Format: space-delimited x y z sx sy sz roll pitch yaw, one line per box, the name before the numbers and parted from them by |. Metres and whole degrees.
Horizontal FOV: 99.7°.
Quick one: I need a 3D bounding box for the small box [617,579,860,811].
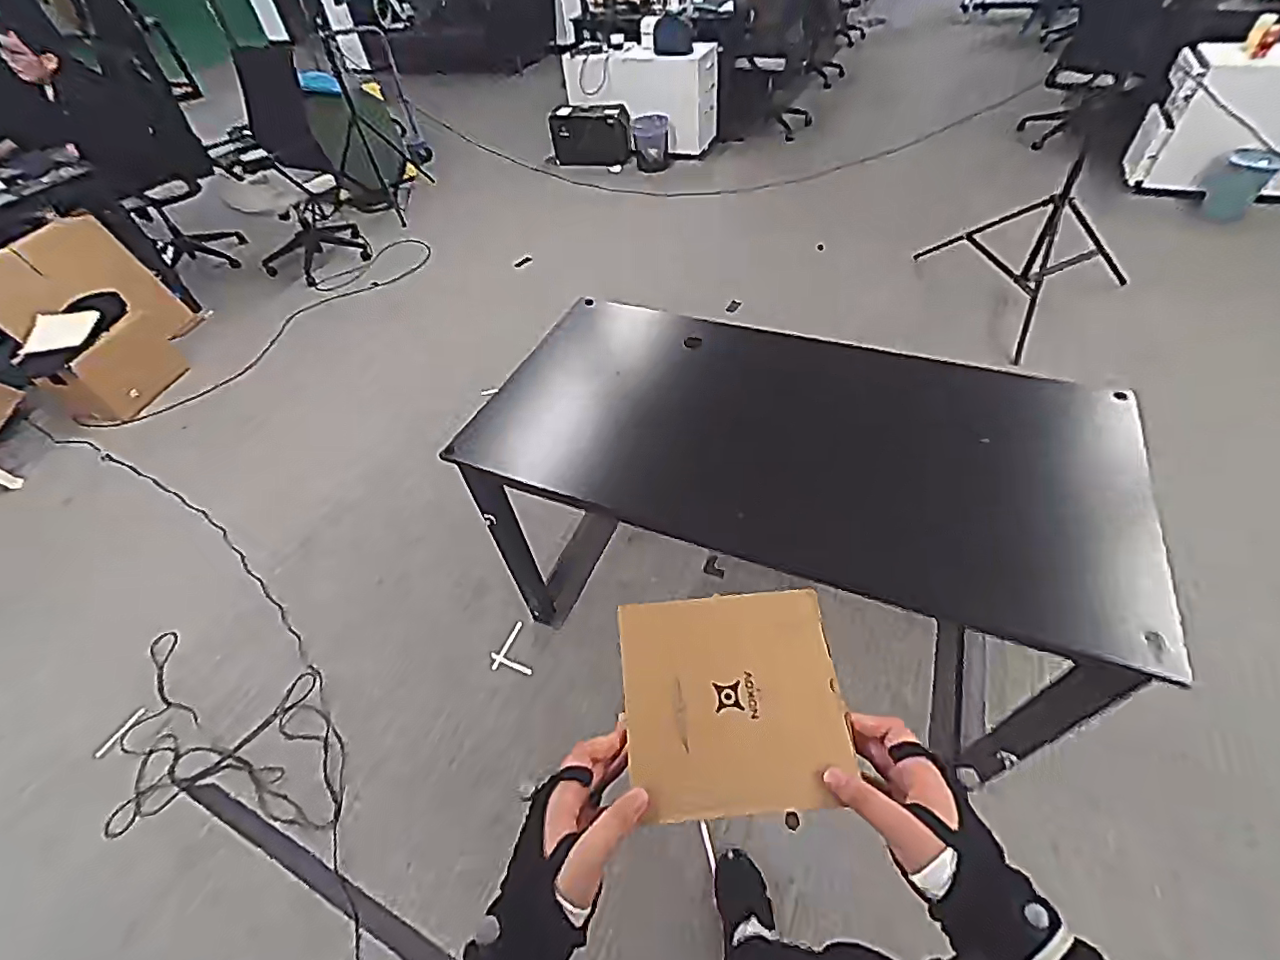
small box | 0.075 0.205 0.509 0.179 0.176 0.168 -6 59 -1
